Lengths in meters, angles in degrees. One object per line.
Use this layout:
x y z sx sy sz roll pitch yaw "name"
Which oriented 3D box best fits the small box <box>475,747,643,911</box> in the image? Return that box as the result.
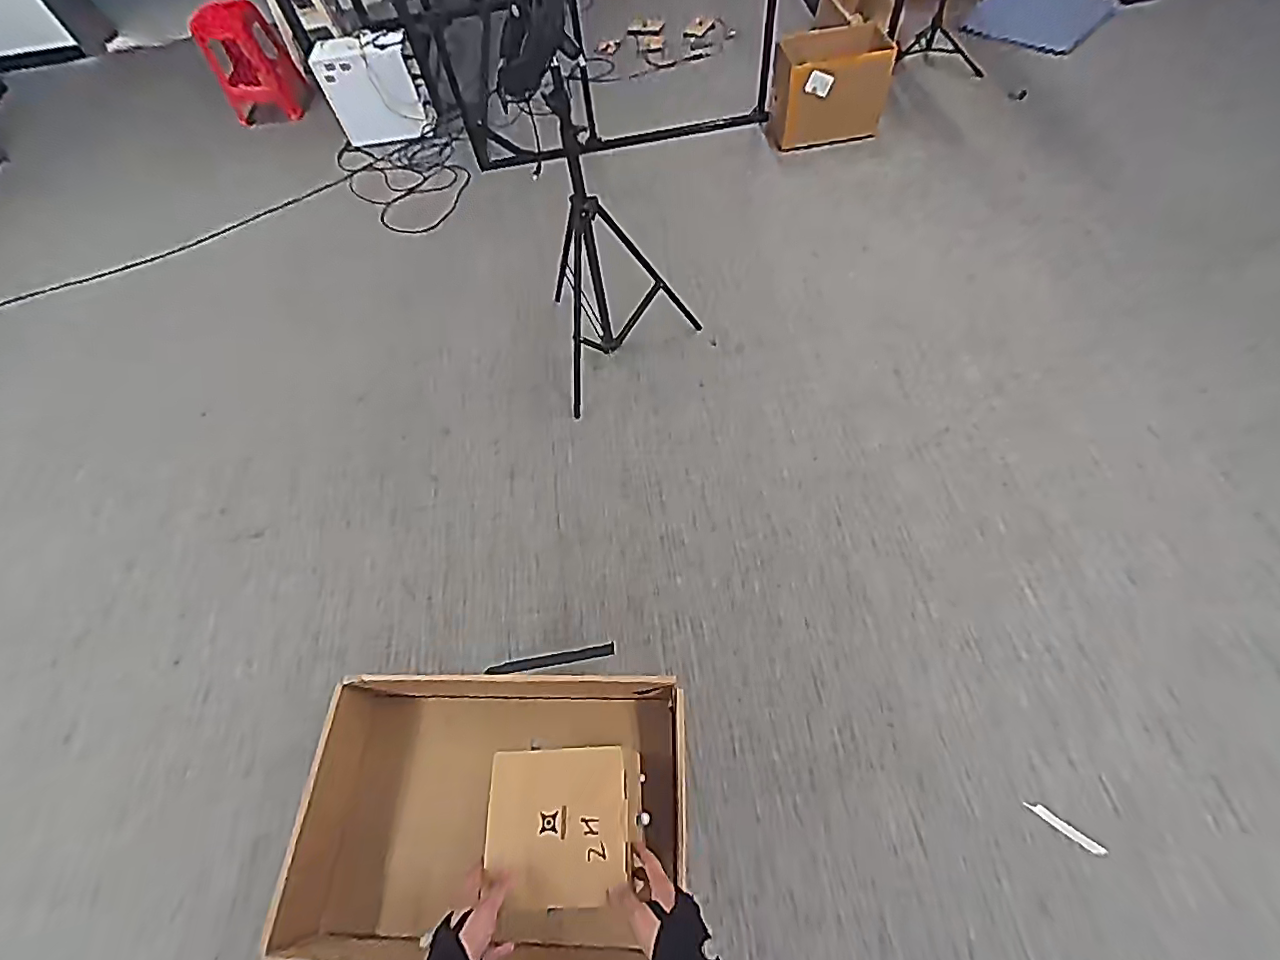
-0.094 0.455 0.715 0.179 0.176 0.168 -5 59 5 "small box"
